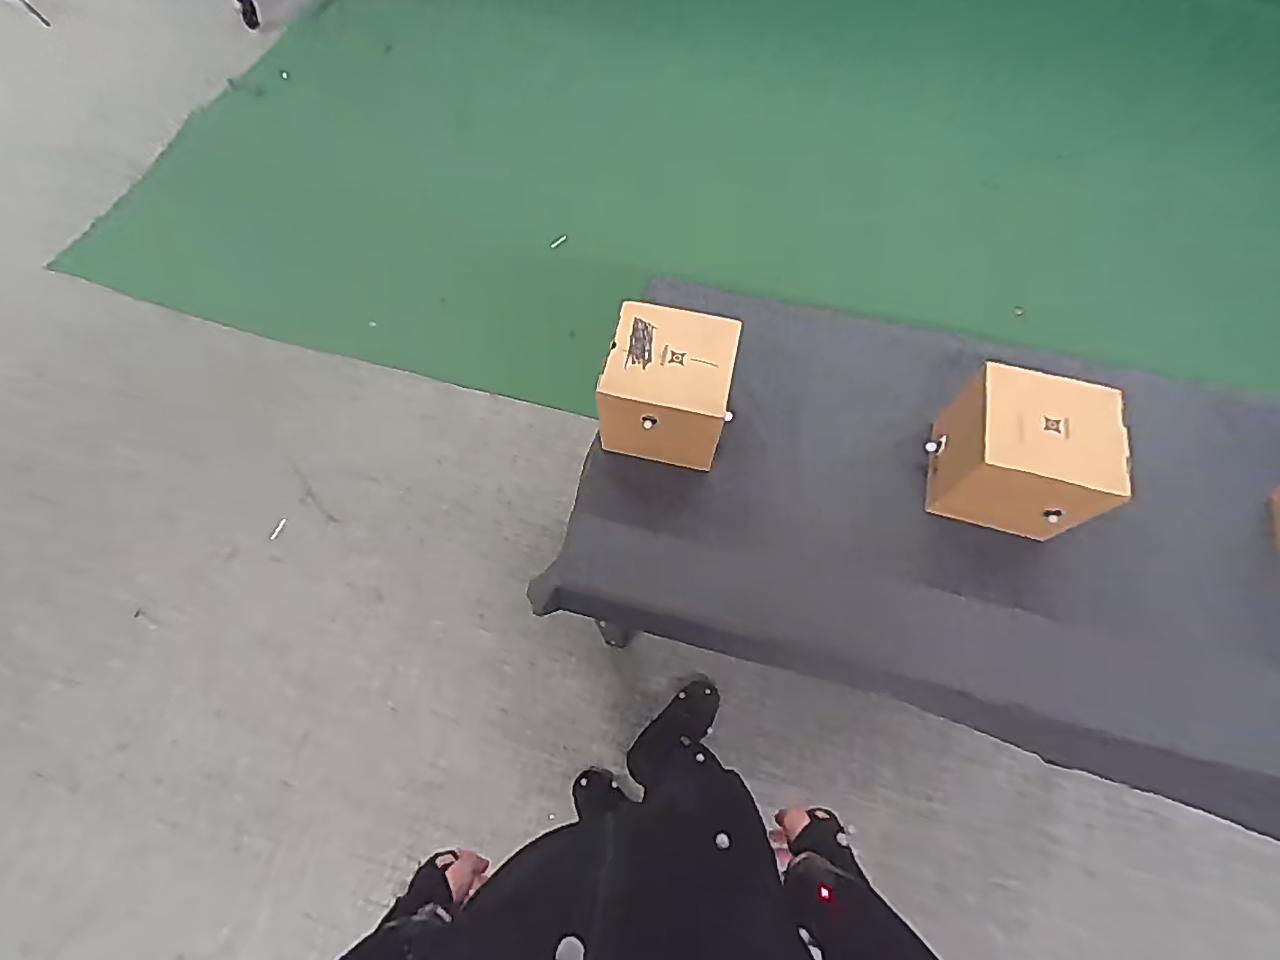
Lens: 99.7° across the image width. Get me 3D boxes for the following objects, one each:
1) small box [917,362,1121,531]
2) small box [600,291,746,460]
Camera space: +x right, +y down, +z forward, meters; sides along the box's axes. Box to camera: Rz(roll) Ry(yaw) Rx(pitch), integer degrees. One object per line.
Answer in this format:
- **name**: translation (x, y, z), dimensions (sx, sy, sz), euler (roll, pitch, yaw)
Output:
- **small box**: translation (0.535, -0.040, 0.786), dimensions (0.179, 0.176, 0.168), euler (14, 65, 5)
- **small box**: translation (0.044, -0.147, 0.808), dimensions (0.179, 0.176, 0.168), euler (13, 66, 2)
